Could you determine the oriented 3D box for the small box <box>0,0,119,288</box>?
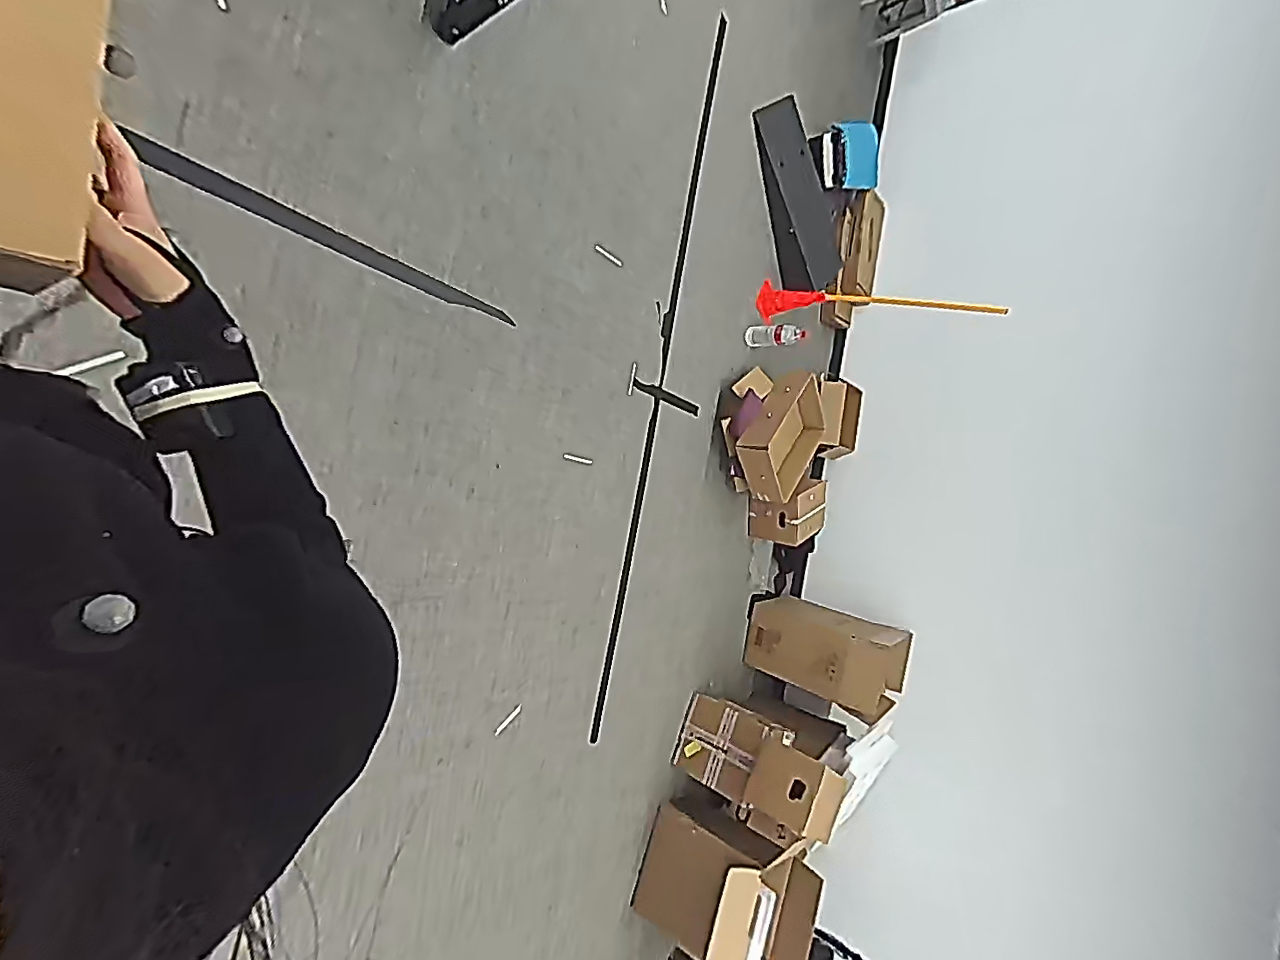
[{"bbox_3d":[-0.390,-0.210,0.262,0.168,0.176,0.179,6,93,-54],"label":"small box"}]
